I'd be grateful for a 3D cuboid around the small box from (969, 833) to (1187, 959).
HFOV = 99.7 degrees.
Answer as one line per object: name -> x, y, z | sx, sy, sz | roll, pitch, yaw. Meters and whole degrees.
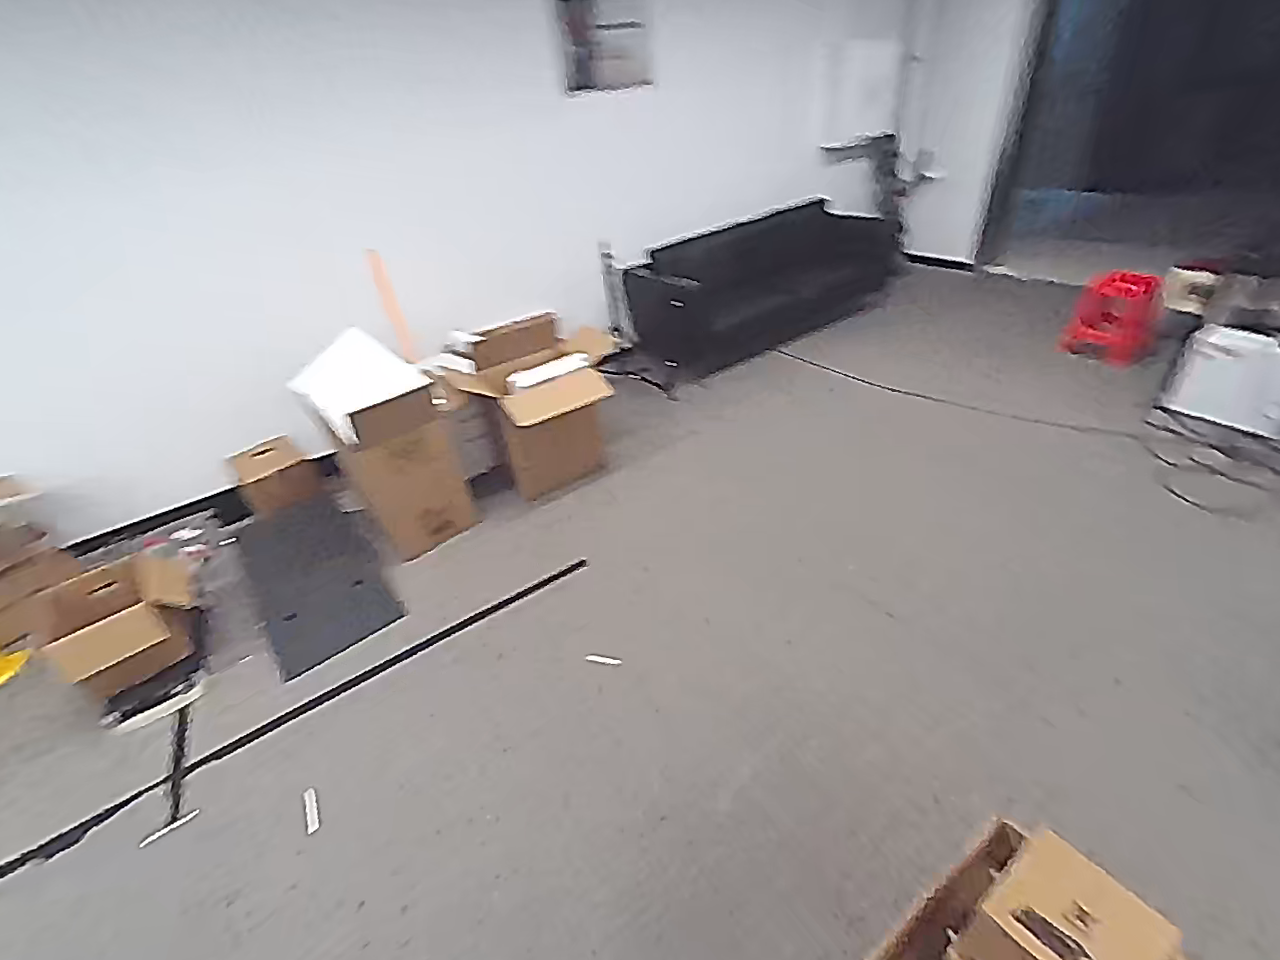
small box -> 0.588, 0.653, 0.749 | 0.179, 0.176, 0.168 | -25, 37, -25
